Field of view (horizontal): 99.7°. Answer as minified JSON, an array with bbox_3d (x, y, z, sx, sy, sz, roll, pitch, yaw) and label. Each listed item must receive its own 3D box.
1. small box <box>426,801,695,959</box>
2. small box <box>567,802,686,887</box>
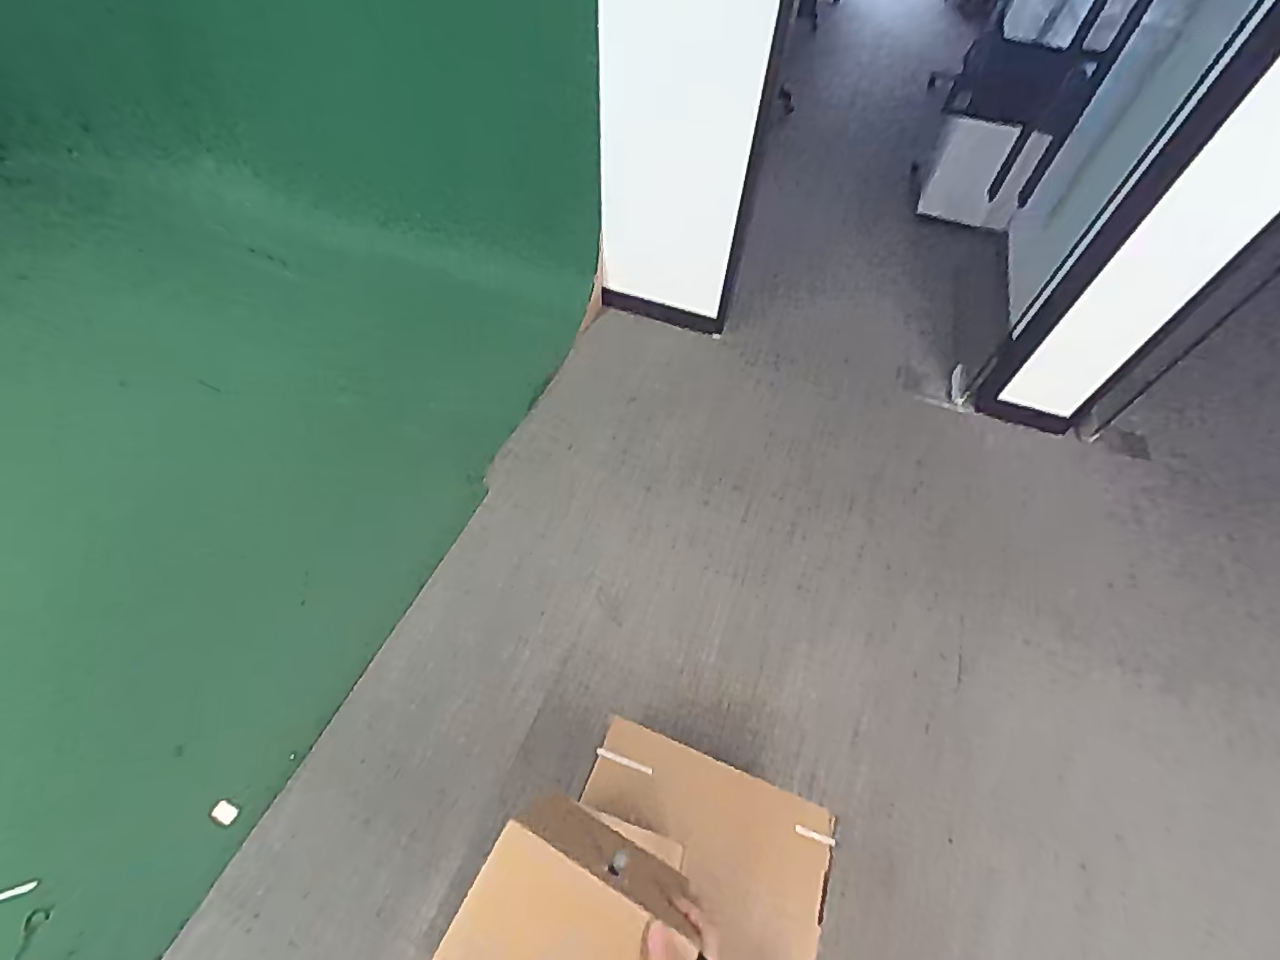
[{"bbox_3d":[-0.072,0.408,0.467,0.179,0.176,0.168,27,72,10],"label":"small box"},{"bbox_3d":[-0.050,0.576,0.748,0.179,0.176,0.168,17,52,10],"label":"small box"}]
